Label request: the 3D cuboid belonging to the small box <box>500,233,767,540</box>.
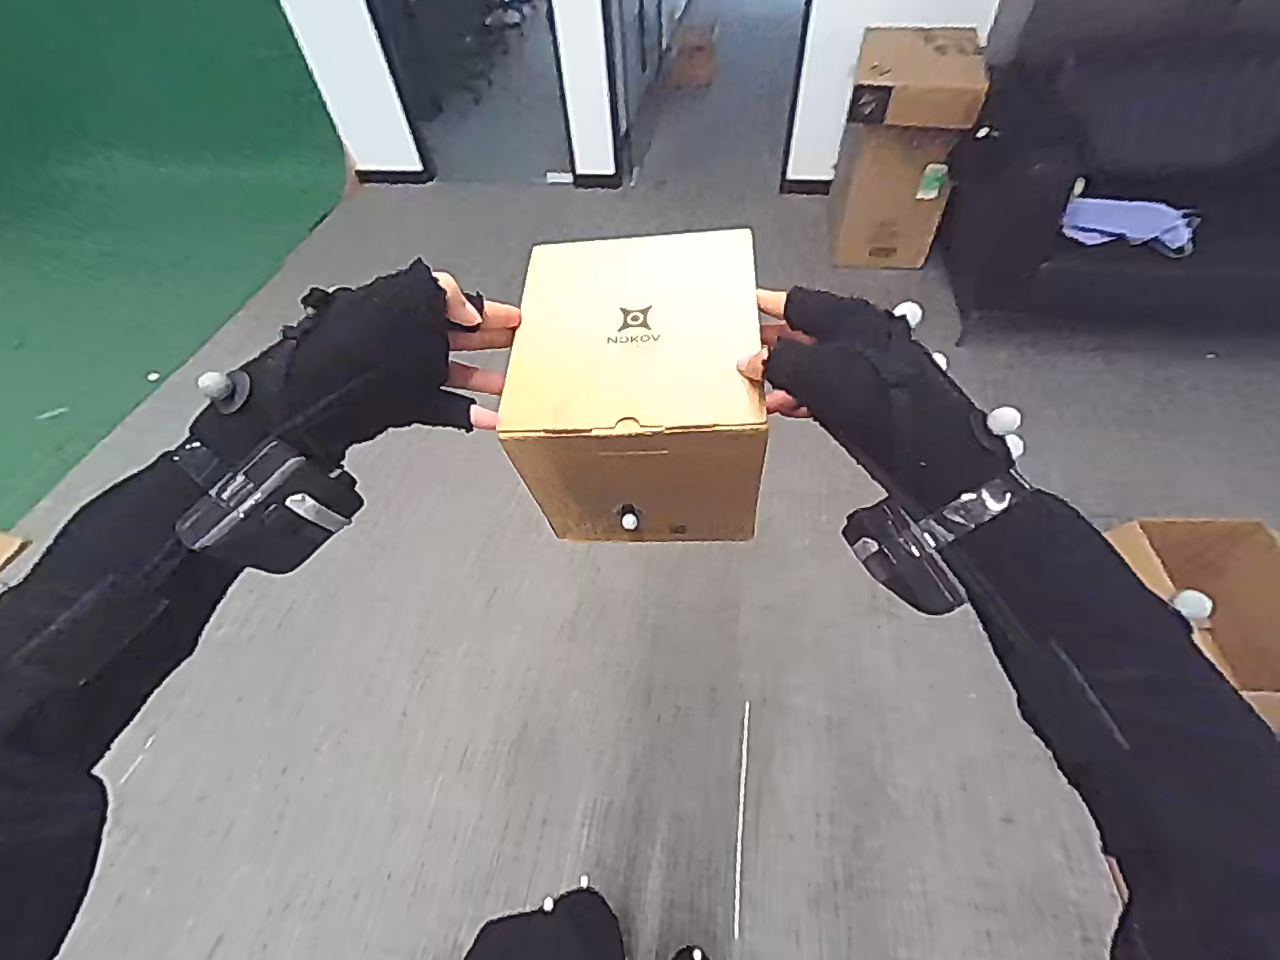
[{"bbox_3d":[0.006,-0.065,0.432,0.168,0.176,0.179,-2,61,7],"label":"small box"}]
